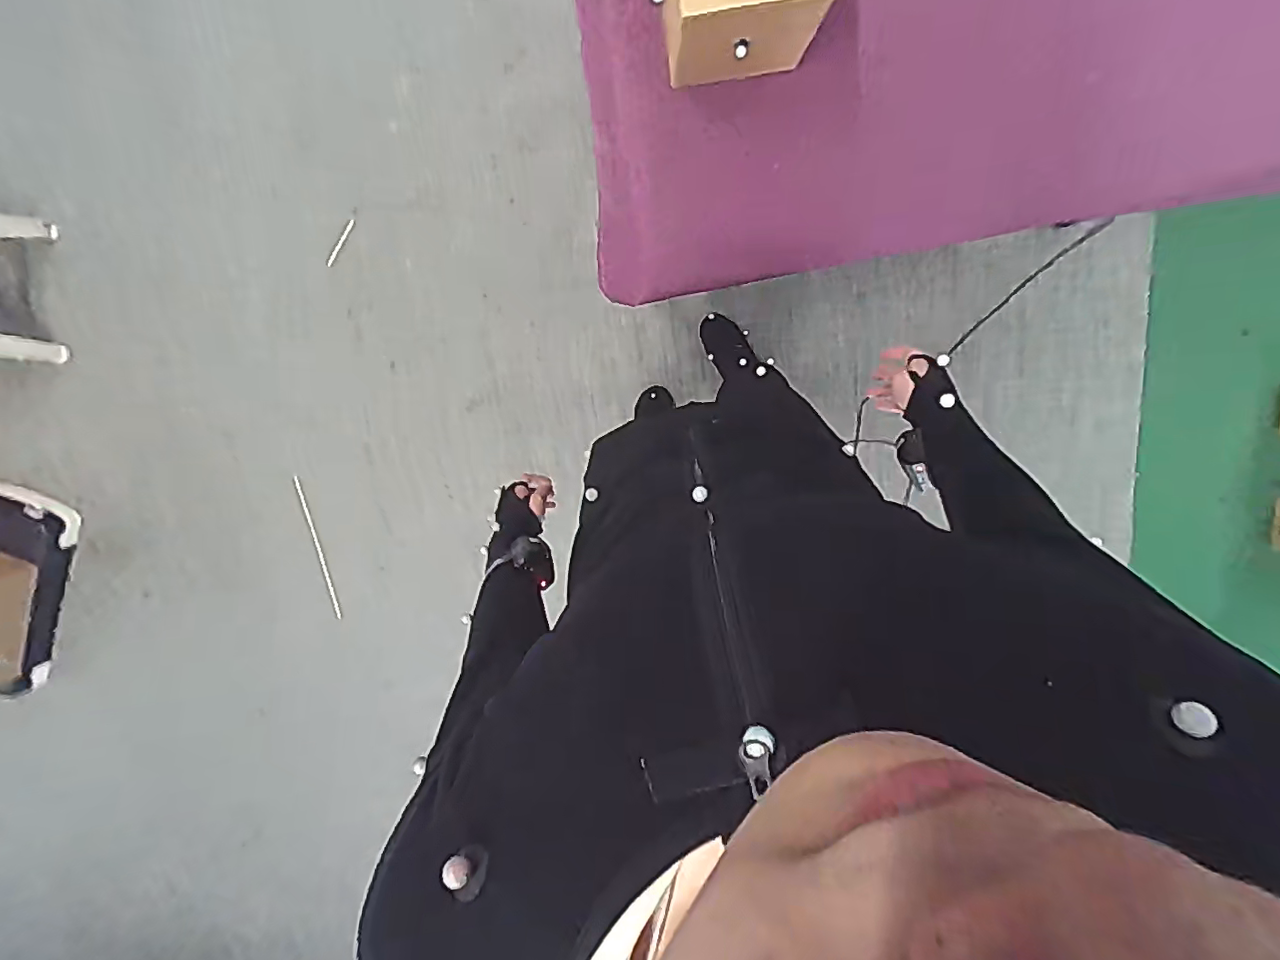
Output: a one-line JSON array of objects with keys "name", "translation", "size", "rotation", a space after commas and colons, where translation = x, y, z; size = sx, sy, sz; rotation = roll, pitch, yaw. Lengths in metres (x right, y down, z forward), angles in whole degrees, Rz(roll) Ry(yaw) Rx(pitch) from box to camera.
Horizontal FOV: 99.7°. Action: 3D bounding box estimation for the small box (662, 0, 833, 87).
[{"name": "small box", "translation": [0.119, -0.614, 0.652], "size": [0.179, 0.176, 0.168], "rotation": [-8, 103, 3]}]
